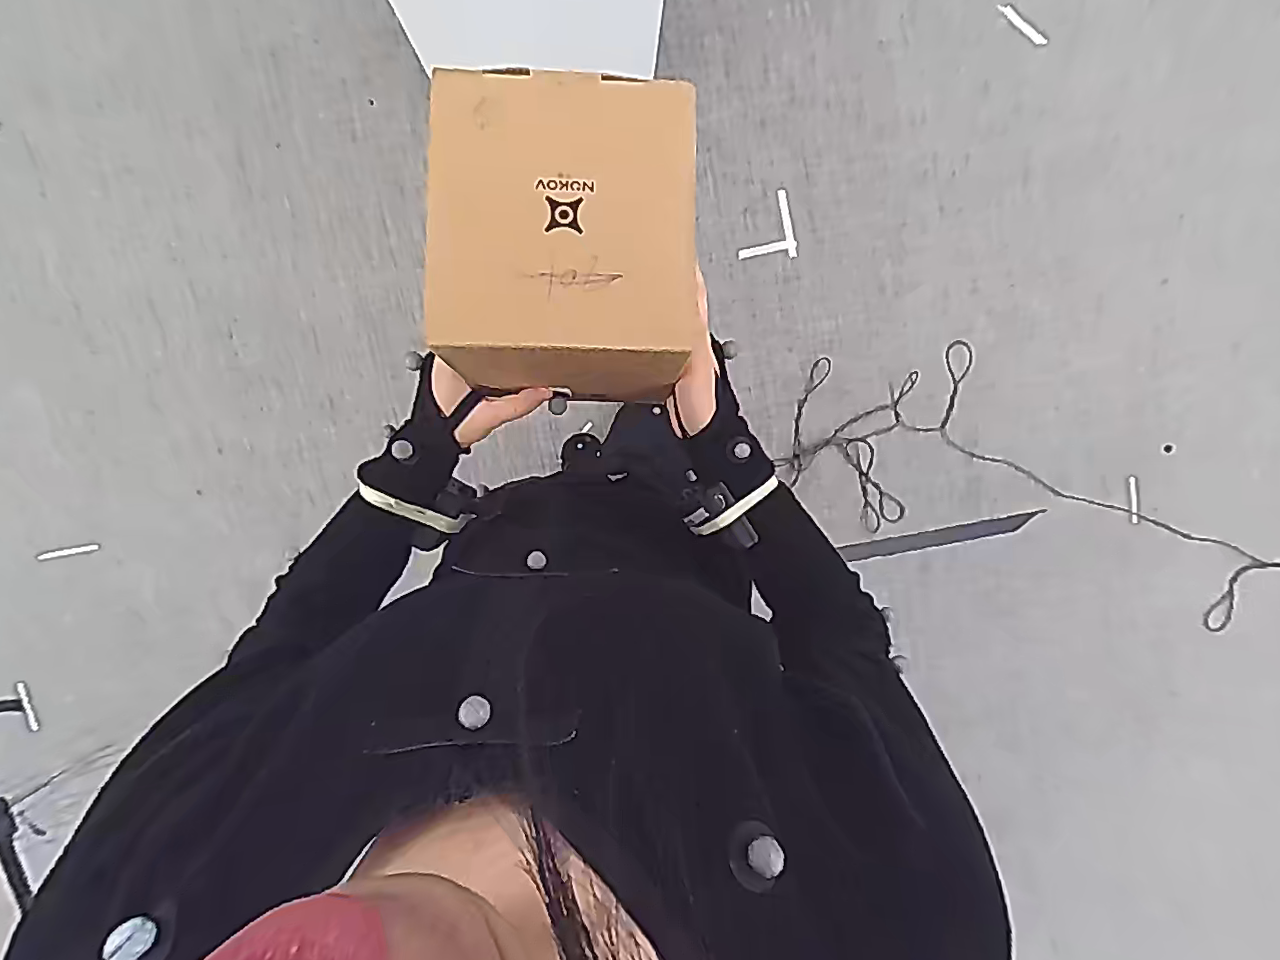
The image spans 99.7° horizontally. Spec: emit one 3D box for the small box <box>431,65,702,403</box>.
[{"bbox_3d":[-0.048,-0.163,0.411,0.168,0.176,0.179,0,88,-3],"label":"small box"}]
